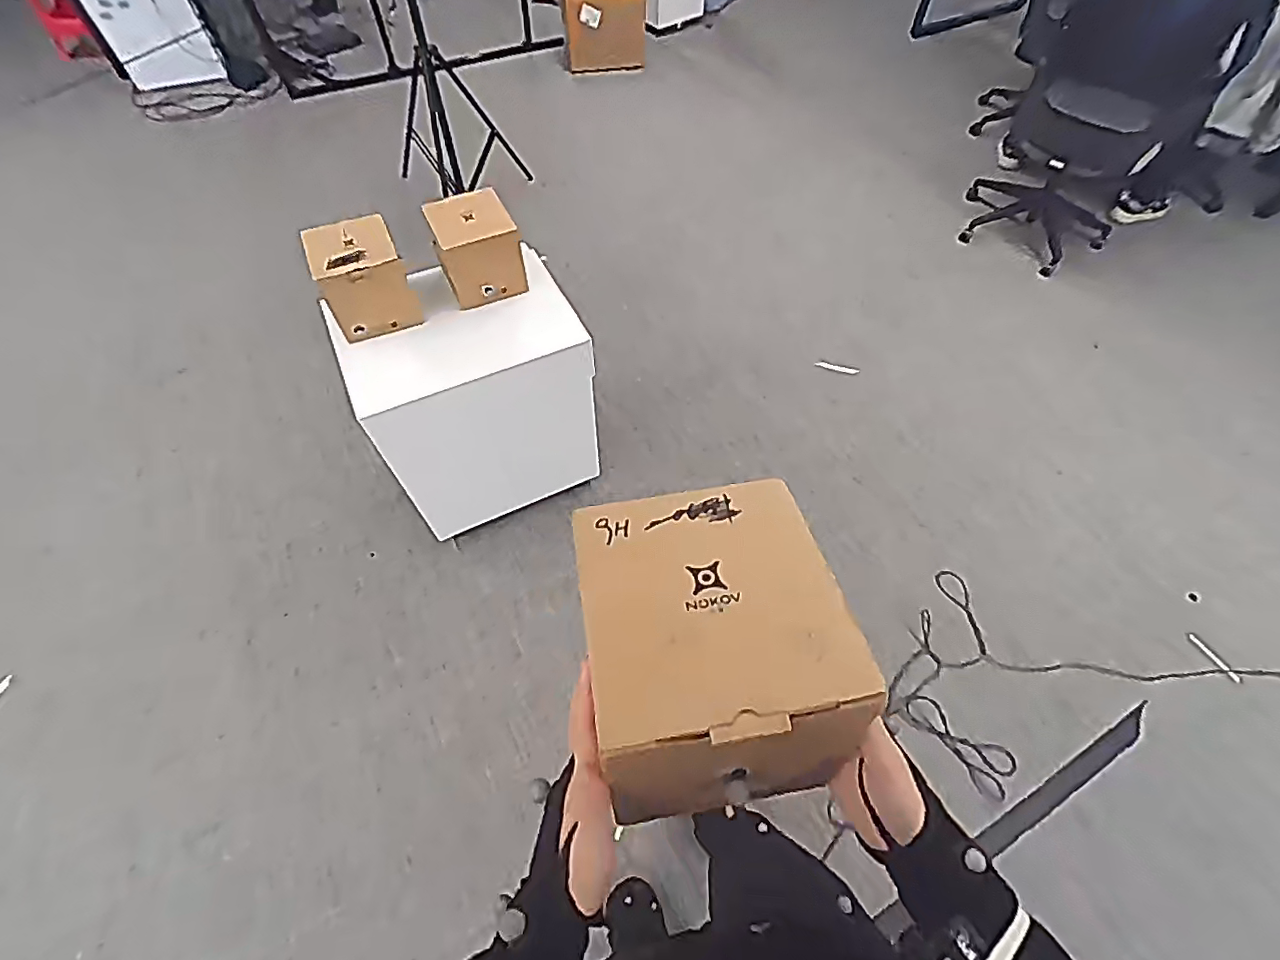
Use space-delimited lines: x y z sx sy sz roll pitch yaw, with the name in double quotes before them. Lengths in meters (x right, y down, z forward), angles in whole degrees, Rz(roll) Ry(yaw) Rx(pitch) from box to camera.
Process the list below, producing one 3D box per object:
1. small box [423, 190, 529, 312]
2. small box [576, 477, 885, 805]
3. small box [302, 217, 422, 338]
"small box" -0.370 -0.520 1.235 0.168 0.176 0.179 -24 63 -14
"small box" 0.048 0.125 0.409 0.168 0.176 0.179 -8 47 -6
"small box" -0.593 -0.429 1.170 0.168 0.176 0.179 -22 61 -15
